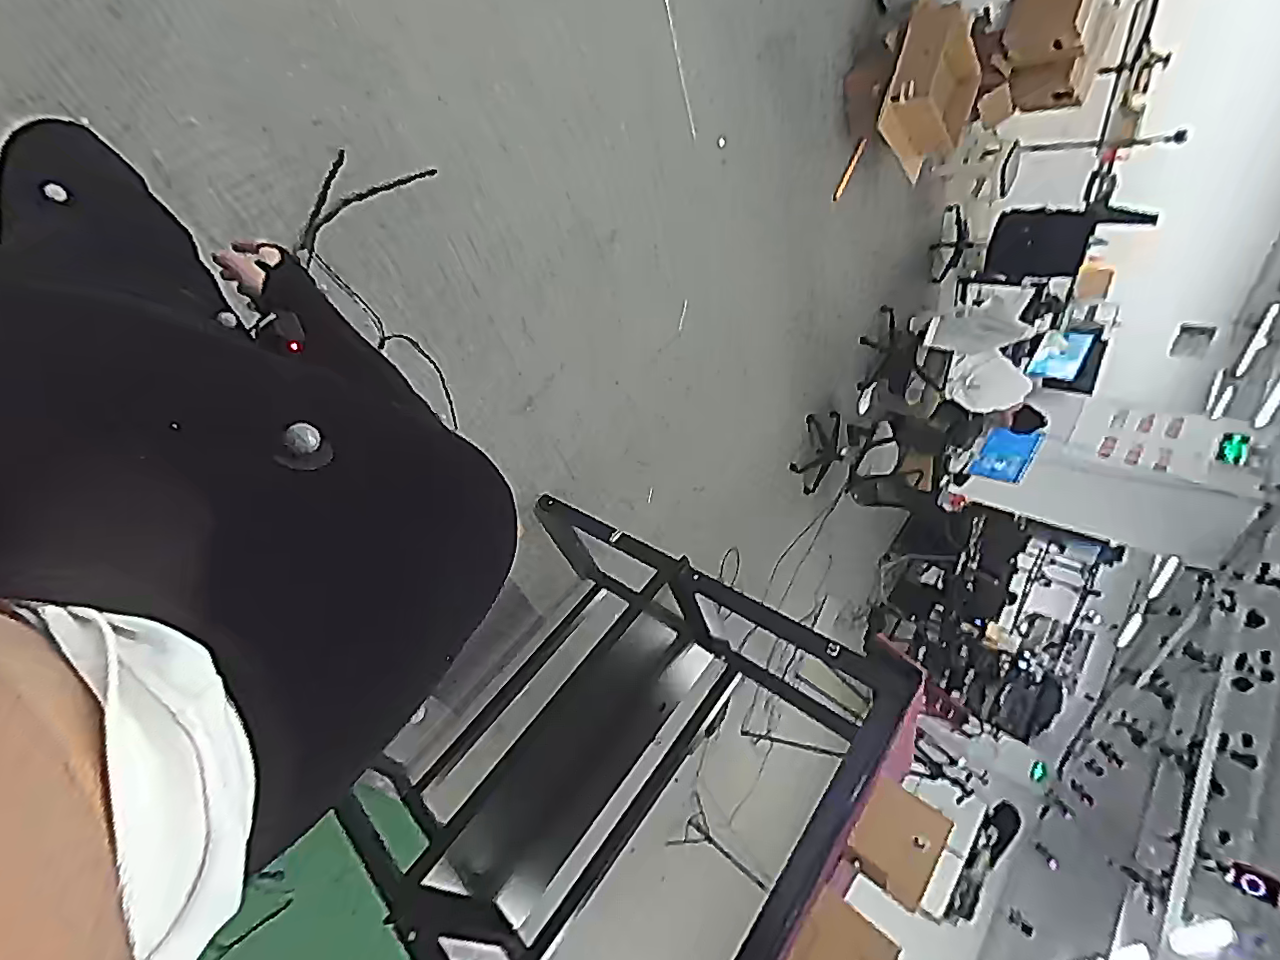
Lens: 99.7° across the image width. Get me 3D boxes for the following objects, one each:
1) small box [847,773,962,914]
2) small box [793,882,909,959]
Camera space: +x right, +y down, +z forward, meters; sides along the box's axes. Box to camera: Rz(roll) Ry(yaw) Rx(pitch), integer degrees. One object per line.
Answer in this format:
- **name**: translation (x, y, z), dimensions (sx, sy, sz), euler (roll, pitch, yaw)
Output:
- **small box**: translation (0.573, 0.789, 1.186), dimensions (0.179, 0.176, 0.168), euler (-44, 136, -27)
- **small box**: translation (0.414, 0.962, 1.081), dimensions (0.179, 0.176, 0.168), euler (-49, 139, -25)
